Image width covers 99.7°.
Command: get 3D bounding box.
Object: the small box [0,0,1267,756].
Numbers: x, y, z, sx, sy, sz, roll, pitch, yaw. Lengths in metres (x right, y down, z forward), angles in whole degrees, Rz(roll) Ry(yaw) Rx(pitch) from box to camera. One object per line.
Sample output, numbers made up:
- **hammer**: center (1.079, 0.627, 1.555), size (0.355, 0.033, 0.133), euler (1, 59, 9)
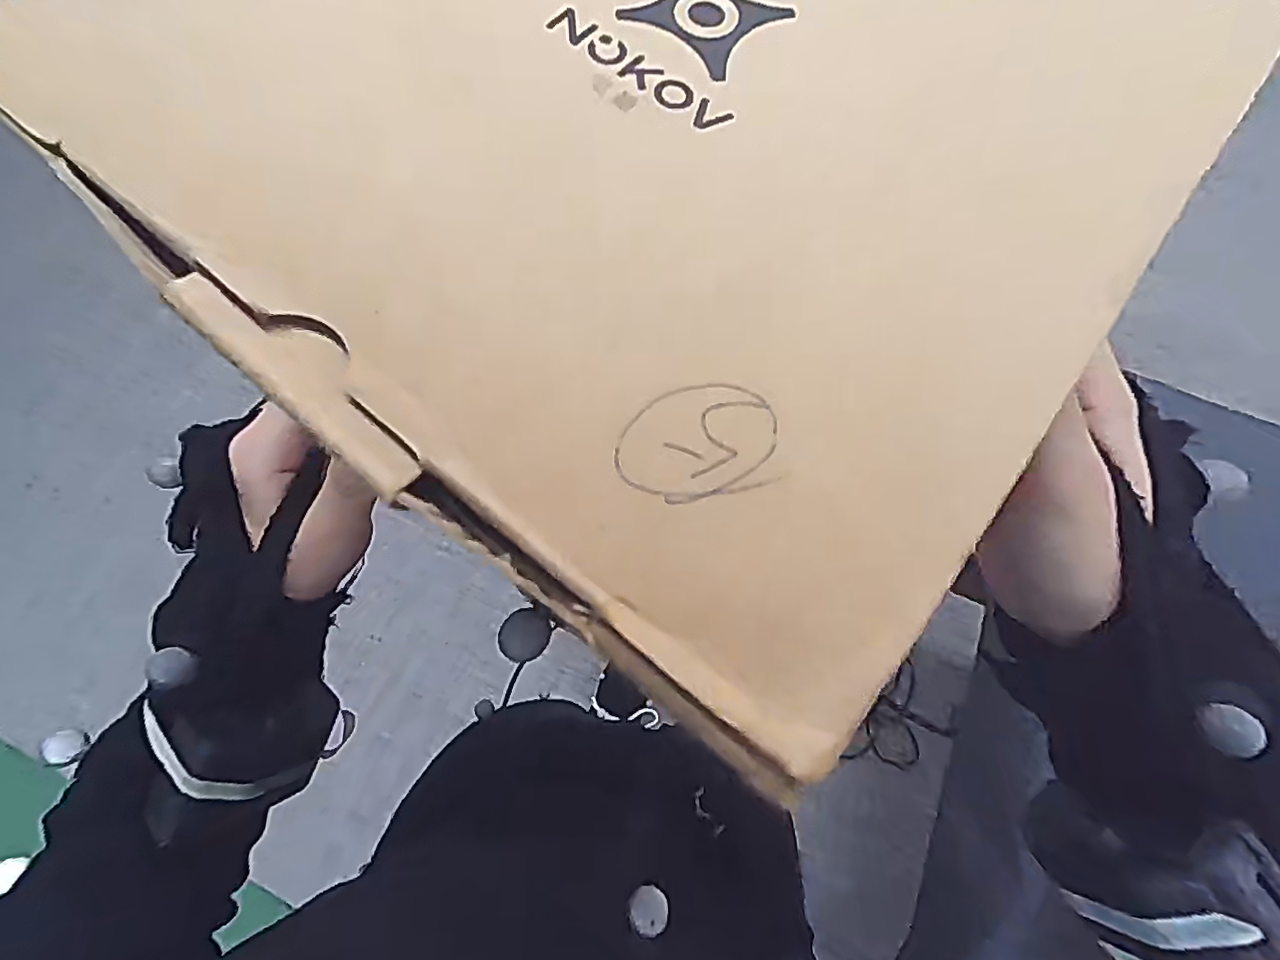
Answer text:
- **small box**: center (0.001, -0.055, 0.170), size (0.168, 0.176, 0.179), euler (38, 74, 8)
